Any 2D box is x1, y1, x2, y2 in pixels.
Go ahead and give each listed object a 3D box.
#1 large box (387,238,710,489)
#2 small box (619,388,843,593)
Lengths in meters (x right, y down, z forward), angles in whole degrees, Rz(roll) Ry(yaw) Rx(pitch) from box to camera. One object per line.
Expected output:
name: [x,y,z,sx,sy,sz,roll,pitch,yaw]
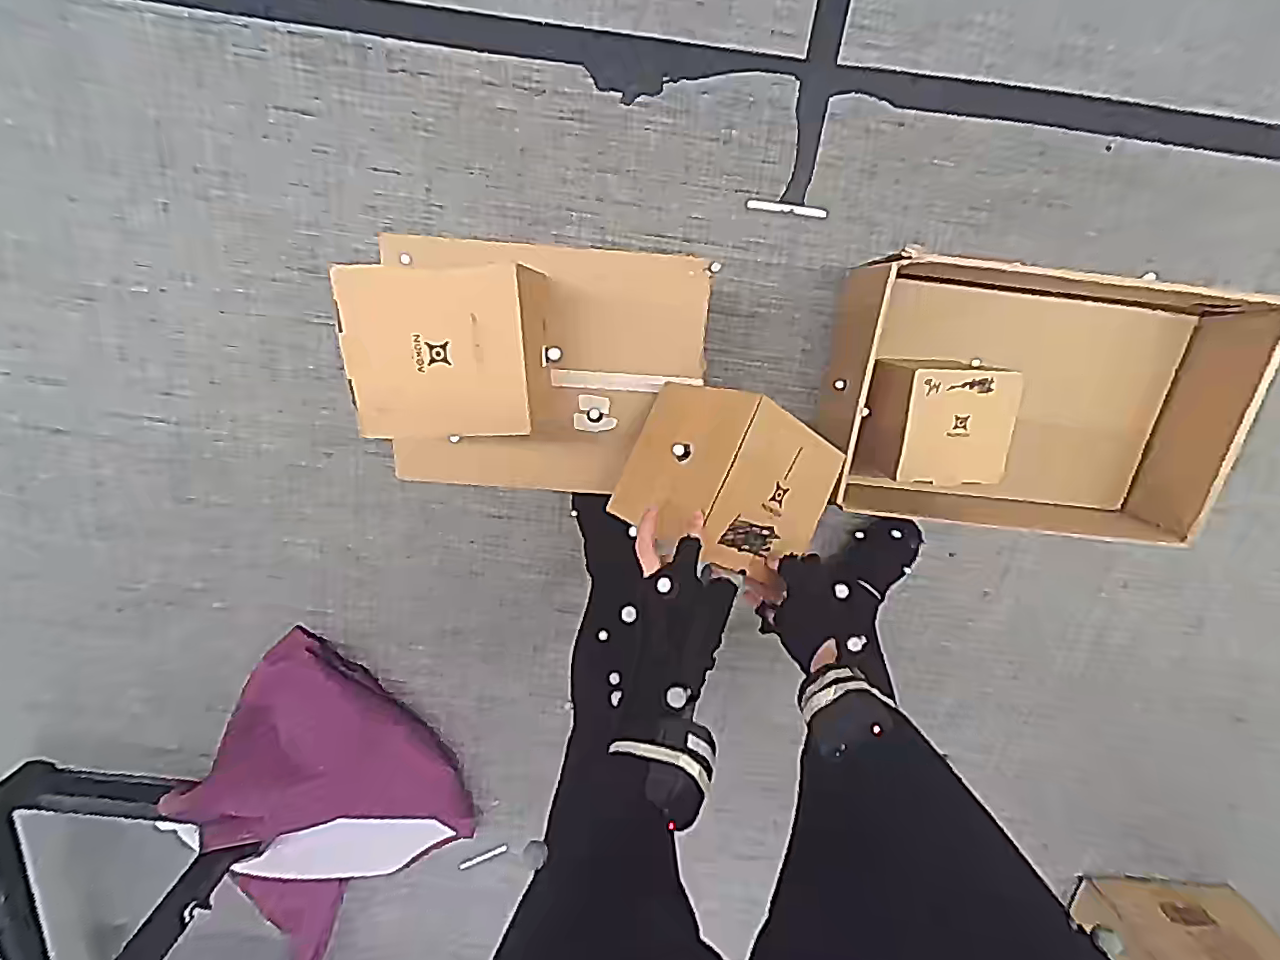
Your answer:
large box: [-0.121,-0.181,0.847,0.408,0.320,0.320,3,107,-2]
small box: [0.098,0.006,0.641,0.168,0.176,0.179,26,87,-36]
